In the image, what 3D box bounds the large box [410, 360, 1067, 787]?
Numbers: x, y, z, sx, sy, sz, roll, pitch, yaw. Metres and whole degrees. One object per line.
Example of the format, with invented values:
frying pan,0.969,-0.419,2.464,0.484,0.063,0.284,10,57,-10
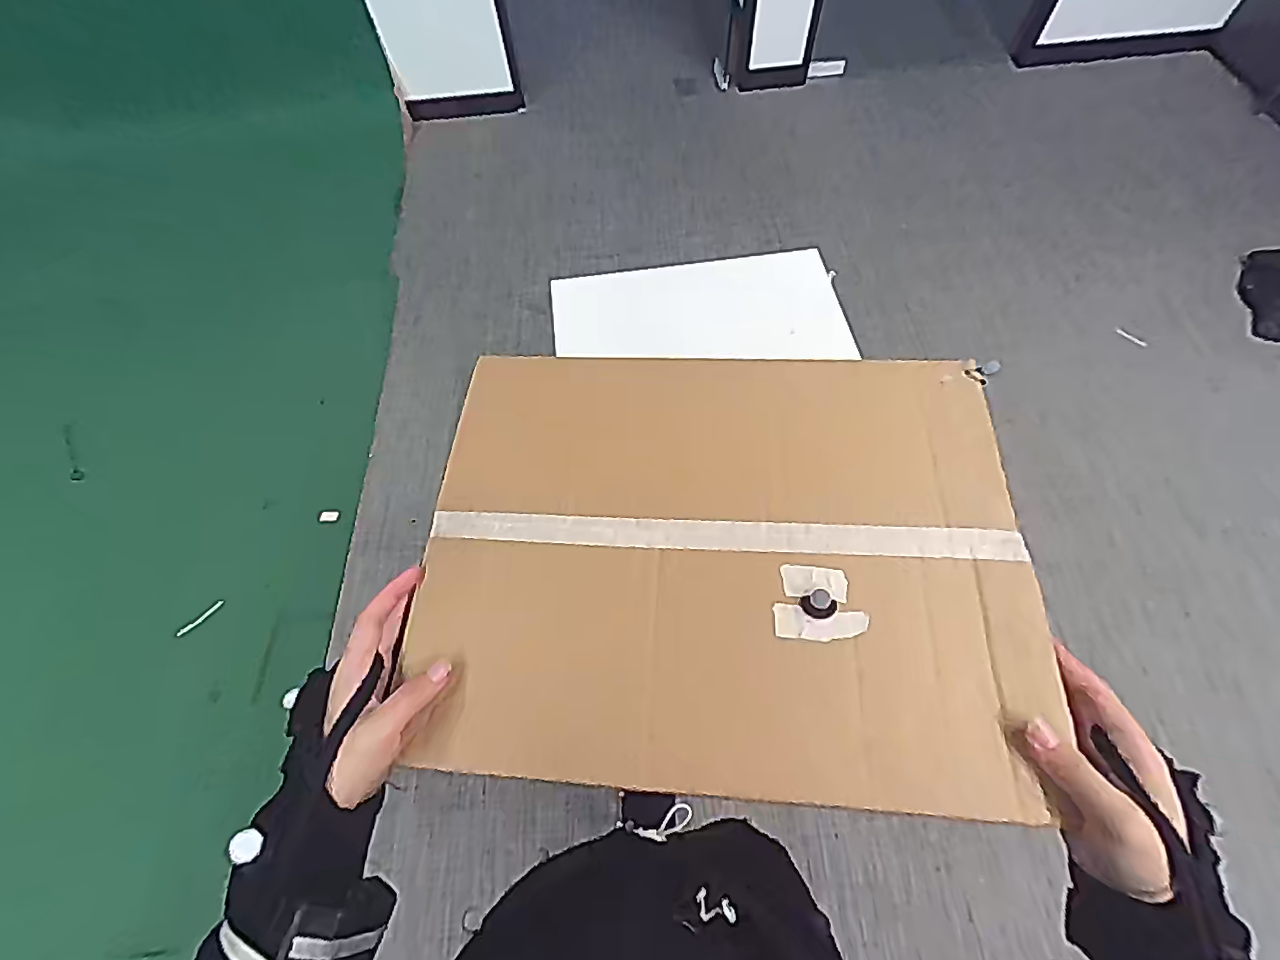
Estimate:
large box,0.066,0.103,0.524,0.408,0.320,0.320,2,64,5
